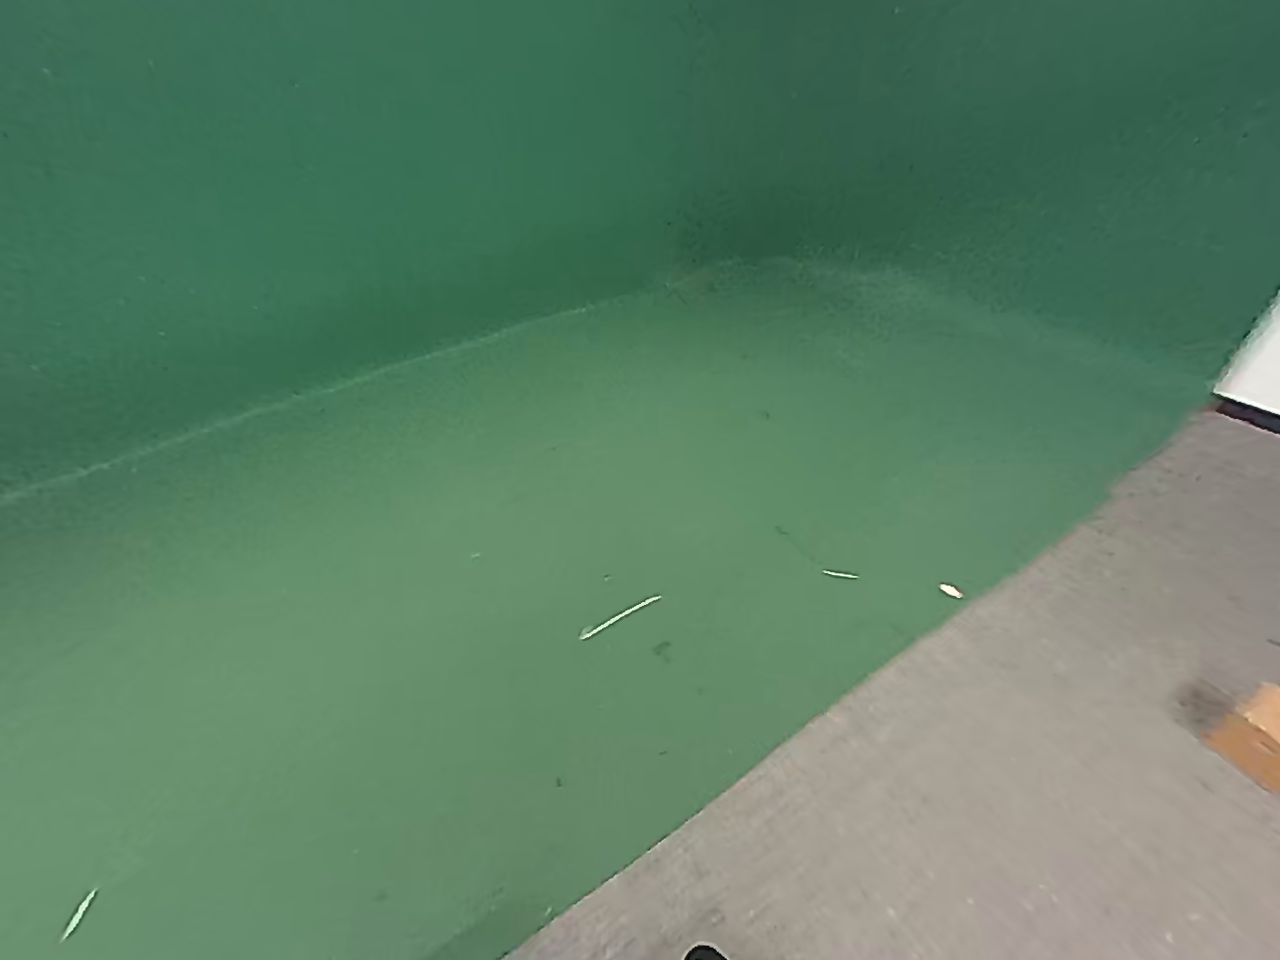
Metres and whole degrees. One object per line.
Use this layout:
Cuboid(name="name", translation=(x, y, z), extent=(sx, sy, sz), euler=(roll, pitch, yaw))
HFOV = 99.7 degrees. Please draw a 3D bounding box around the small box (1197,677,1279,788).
Cuboid(name="small box", translation=(1.641, 0.662, 1.415), extent=(0.168, 0.176, 0.179), euler=(-22, 44, -16))
